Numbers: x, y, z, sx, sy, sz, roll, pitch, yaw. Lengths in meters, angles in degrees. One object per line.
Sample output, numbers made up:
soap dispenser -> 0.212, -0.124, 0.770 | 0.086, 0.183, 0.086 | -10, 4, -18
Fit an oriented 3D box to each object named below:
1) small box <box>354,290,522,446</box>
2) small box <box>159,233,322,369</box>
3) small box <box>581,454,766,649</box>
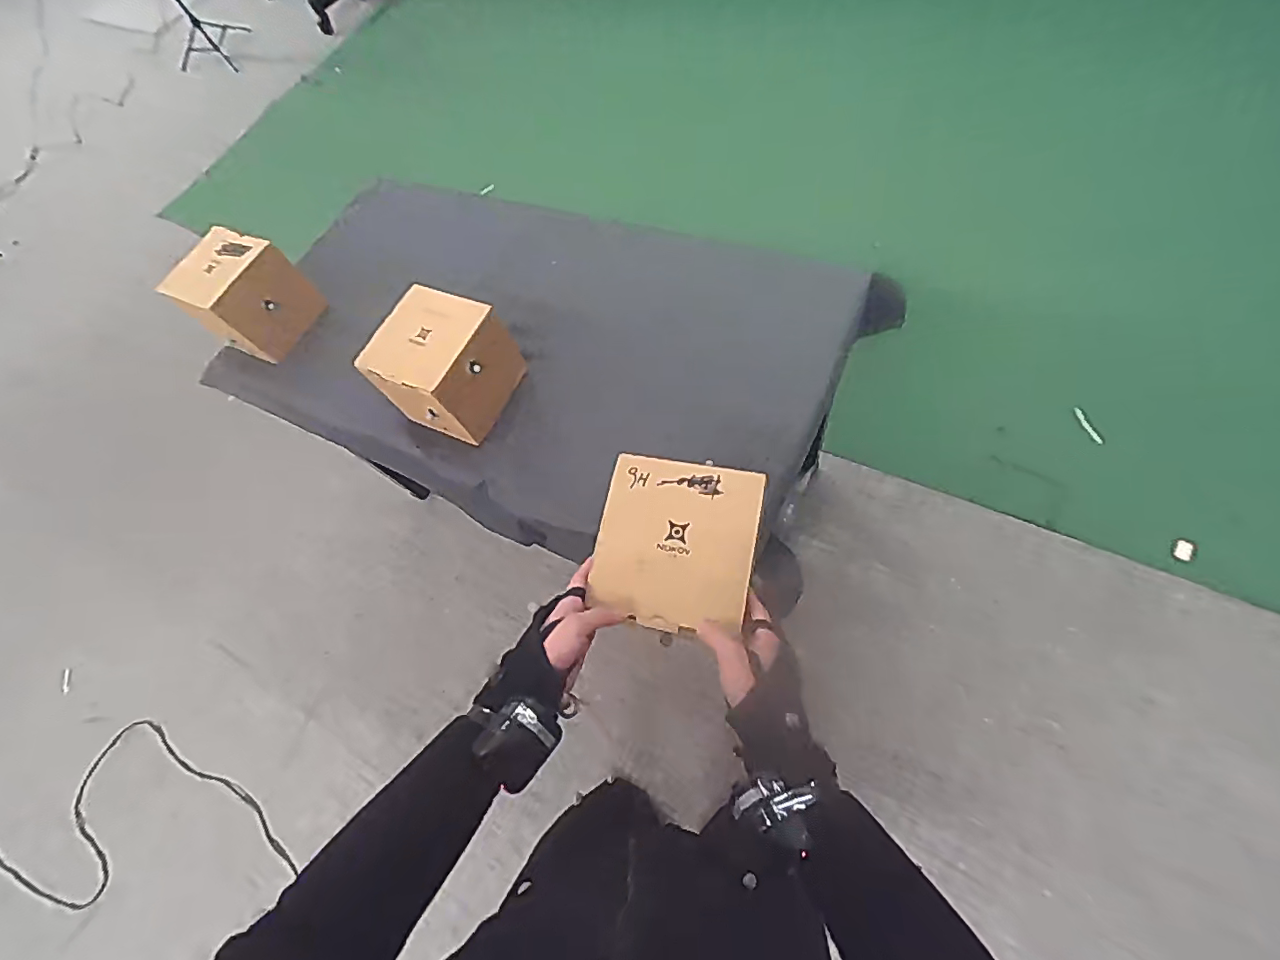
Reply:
small box -> -0.326, -0.183, 0.914 | 0.168, 0.176, 0.179 | 20, 69, 19
small box -> -0.786, -0.357, 1.091 | 0.168, 0.176, 0.179 | 21, 71, 20
small box -> 0.050, 0.090, 0.623 | 0.168, 0.176, 0.179 | 9, 72, 14
